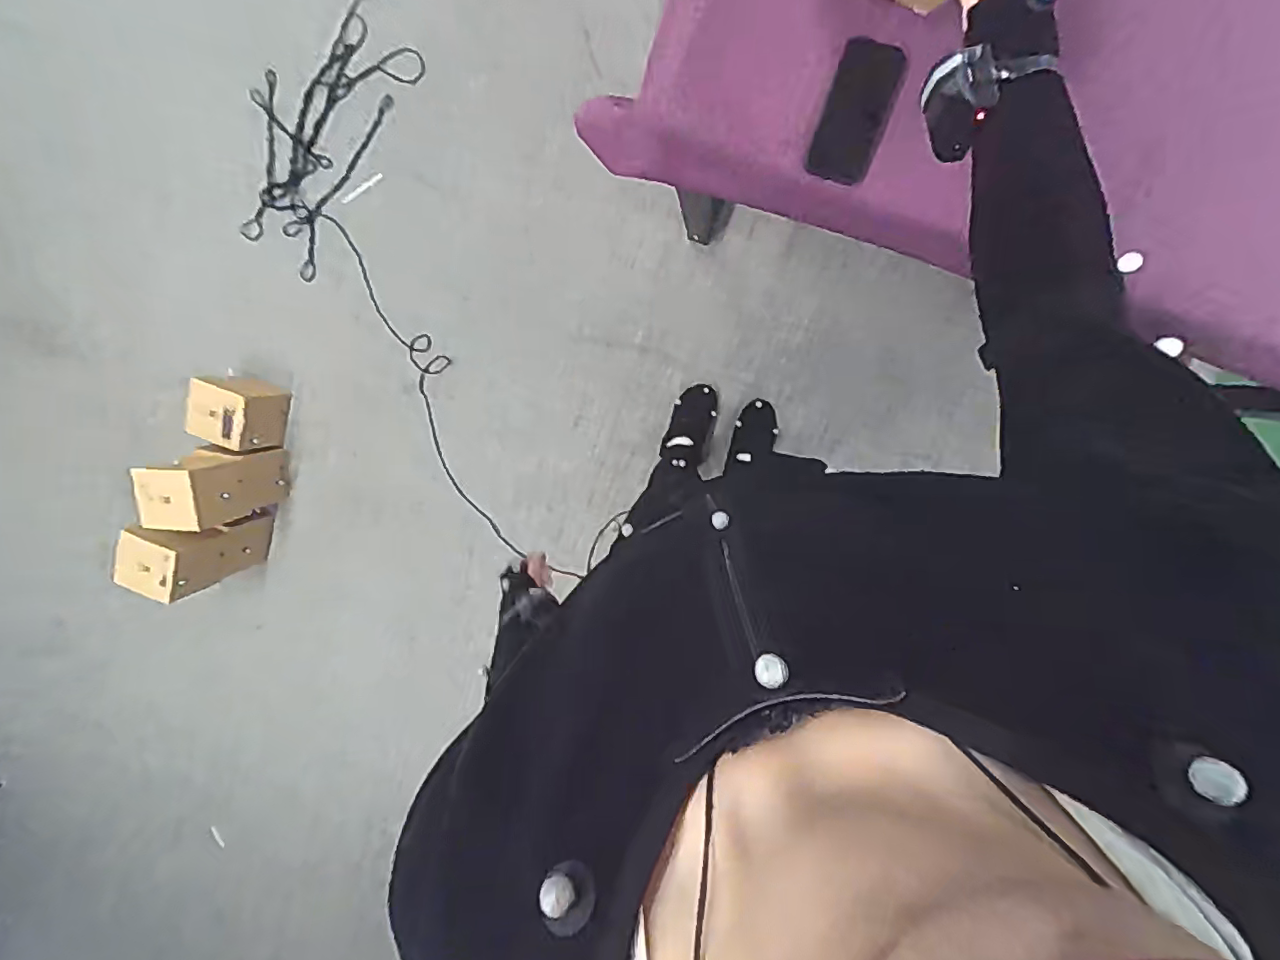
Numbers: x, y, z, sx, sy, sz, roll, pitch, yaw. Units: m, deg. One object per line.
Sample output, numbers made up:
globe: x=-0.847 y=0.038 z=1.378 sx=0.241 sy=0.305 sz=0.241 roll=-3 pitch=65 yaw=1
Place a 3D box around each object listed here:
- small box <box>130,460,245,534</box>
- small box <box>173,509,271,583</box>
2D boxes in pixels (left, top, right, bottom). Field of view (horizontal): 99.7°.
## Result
small box: x=-1.216 y=0.040 z=1.471 sx=0.179 sy=0.176 sz=0.168 roll=3 pitch=102 yaw=9
small box: x=-1.291 y=0.187 z=1.679 sx=0.168 sy=0.176 sz=0.179 roll=20 pitch=104 yaw=5
